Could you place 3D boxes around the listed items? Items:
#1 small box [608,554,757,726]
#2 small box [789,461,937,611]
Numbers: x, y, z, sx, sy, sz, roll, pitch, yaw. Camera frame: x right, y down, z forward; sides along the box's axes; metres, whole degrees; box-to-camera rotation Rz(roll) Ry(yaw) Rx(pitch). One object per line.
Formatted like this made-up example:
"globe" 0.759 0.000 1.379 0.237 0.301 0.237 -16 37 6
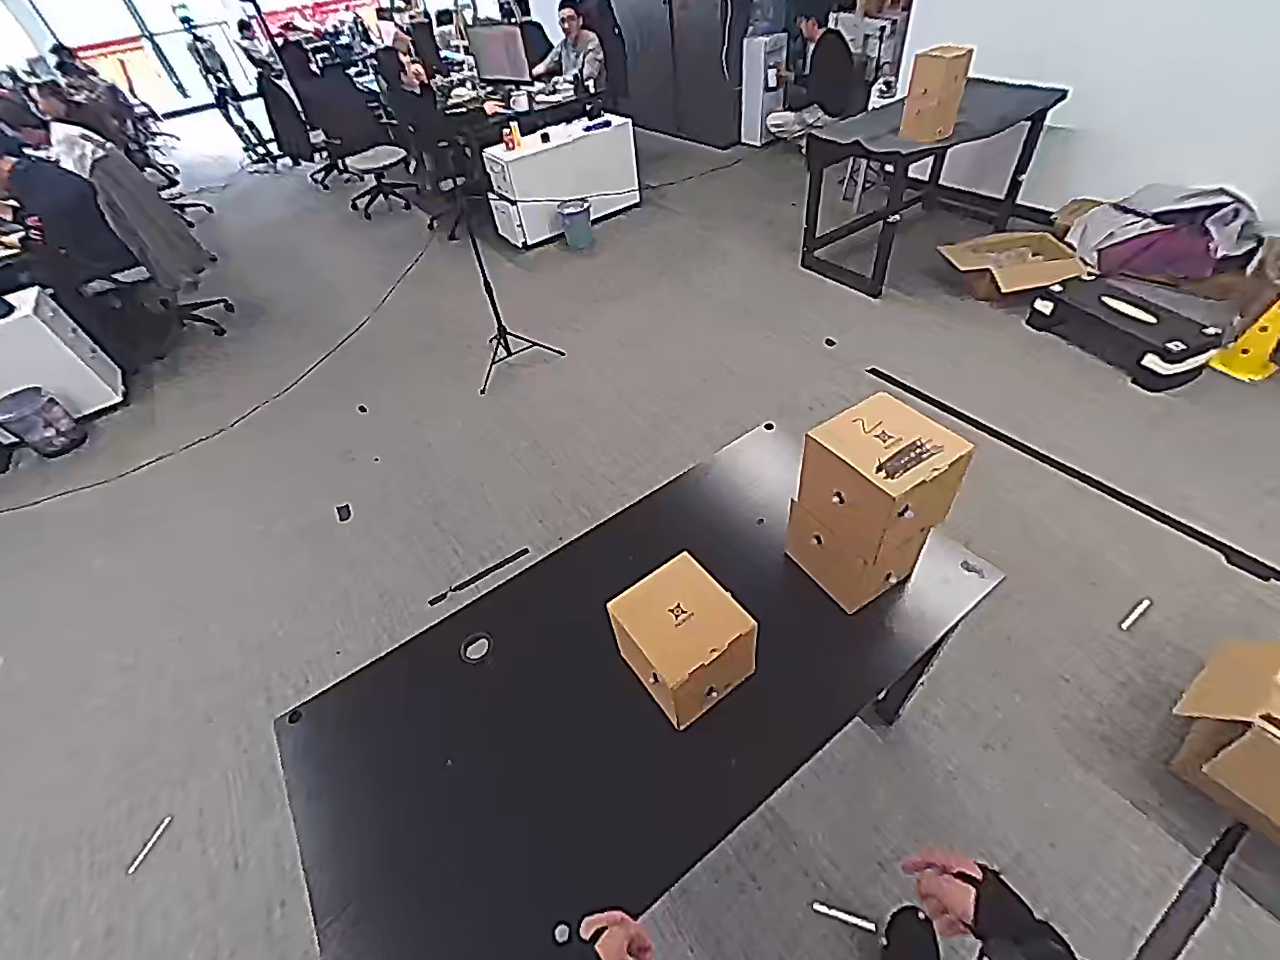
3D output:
"small box" 0.069 0.262 0.887 0.168 0.176 0.179 -31 50 -20
"small box" 0.391 0.103 0.984 0.168 0.176 0.179 -28 49 -15
